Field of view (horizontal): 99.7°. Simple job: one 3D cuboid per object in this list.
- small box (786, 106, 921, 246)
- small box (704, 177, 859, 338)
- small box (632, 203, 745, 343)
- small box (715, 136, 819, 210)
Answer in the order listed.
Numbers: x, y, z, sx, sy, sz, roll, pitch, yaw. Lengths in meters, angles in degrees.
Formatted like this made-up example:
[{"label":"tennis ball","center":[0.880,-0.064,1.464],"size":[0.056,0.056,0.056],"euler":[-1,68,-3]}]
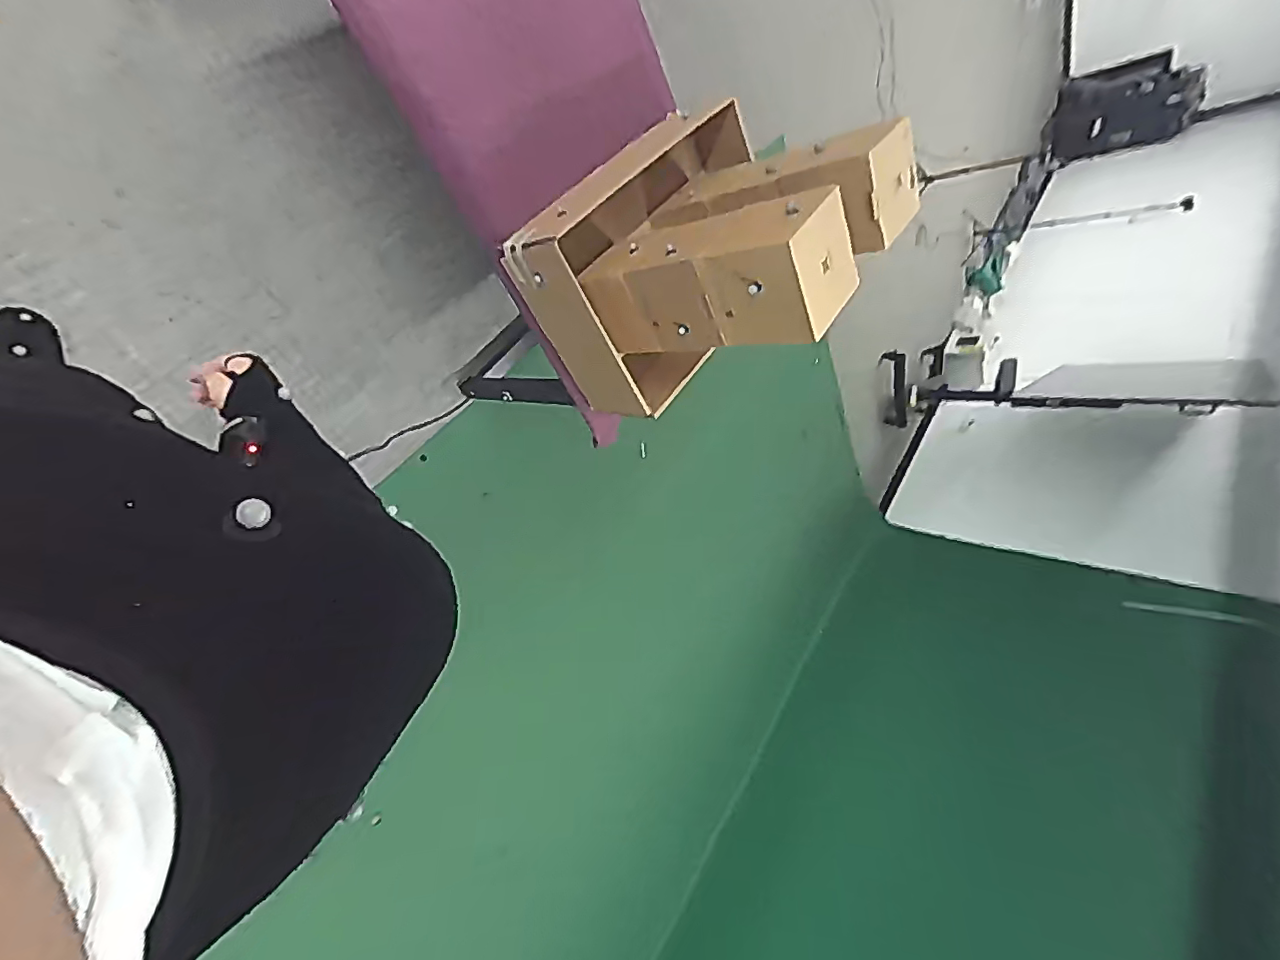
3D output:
[{"label":"small box","center":[0.384,-0.537,0.987],"size":[0.179,0.176,0.168],"euler":[-48,128,-25]},{"label":"small box","center":[0.222,-0.344,0.866],"size":[0.179,0.176,0.168],"euler":[-52,130,-27]},{"label":"small box","center":[0.106,-0.364,0.977],"size":[0.179,0.176,0.168],"euler":[-52,130,-27]},{"label":"small box","center":[0.272,-0.561,1.104],"size":[0.179,0.176,0.168],"euler":[-49,129,-26]}]
